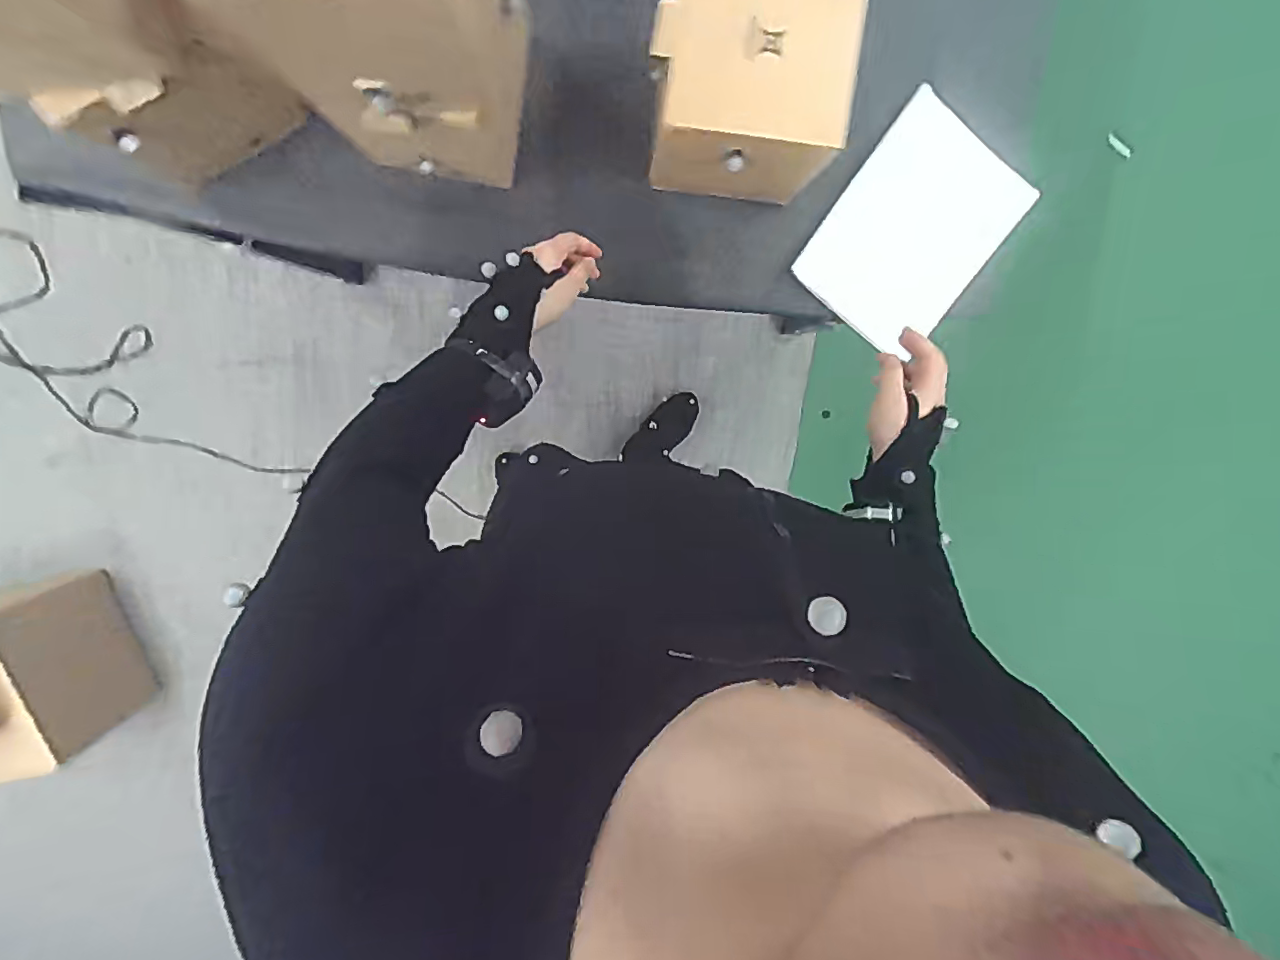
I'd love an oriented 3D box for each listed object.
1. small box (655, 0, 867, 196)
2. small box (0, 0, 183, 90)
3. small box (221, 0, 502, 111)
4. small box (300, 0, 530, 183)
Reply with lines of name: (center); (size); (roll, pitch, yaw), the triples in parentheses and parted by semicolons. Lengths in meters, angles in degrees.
small box: (0.115, -0.419, 0.572); (0.179, 0.176, 0.168); (6, 100, -2)
small box: (-0.495, -0.416, 0.388); (0.179, 0.176, 0.168); (-7, 101, 1)
small box: (-0.206, -0.408, 0.399); (0.168, 0.176, 0.179); (-2, 101, 0)
small box: (-0.215, -0.441, 0.558); (0.168, 0.176, 0.179); (10, 100, -3)
